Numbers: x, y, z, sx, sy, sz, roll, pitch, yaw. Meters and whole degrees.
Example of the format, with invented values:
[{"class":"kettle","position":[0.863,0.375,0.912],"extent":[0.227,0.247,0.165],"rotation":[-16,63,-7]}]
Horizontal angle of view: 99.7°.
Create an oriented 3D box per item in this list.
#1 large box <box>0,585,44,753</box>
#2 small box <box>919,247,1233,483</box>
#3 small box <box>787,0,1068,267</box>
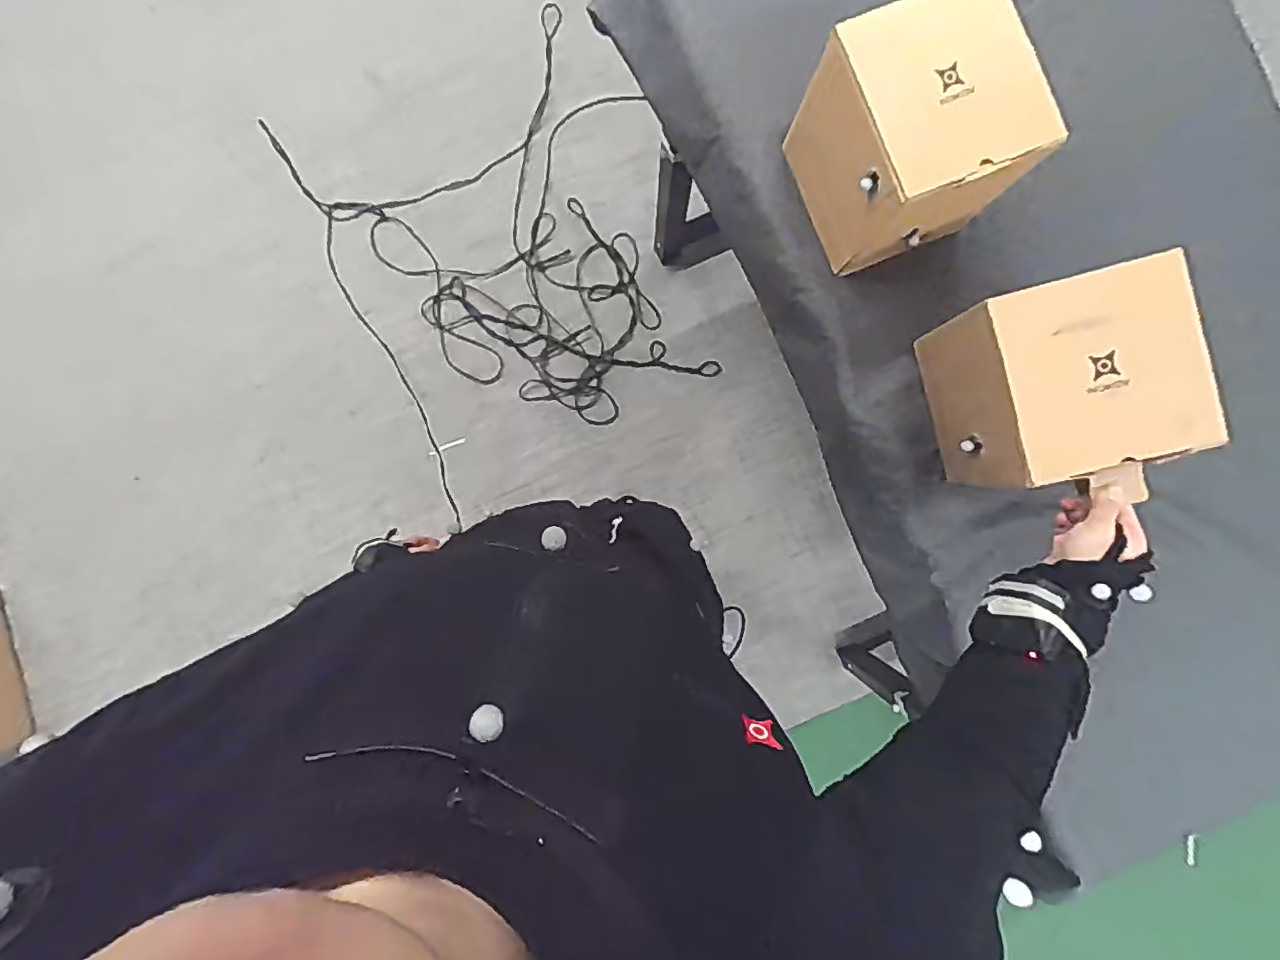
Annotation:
[{"class":"large box","position":[-1.680,0.487,1.203],"extent":[0.320,0.320,0.408],"rotation":[-18,87,-1]},{"class":"small box","position":[0.415,-0.100,0.549],"extent":[0.168,0.176,0.179],"rotation":[-14,89,5]},{"class":"small box","position":[0.277,-0.359,0.565],"extent":[0.168,0.176,0.179],"rotation":[-23,89,-2]}]
